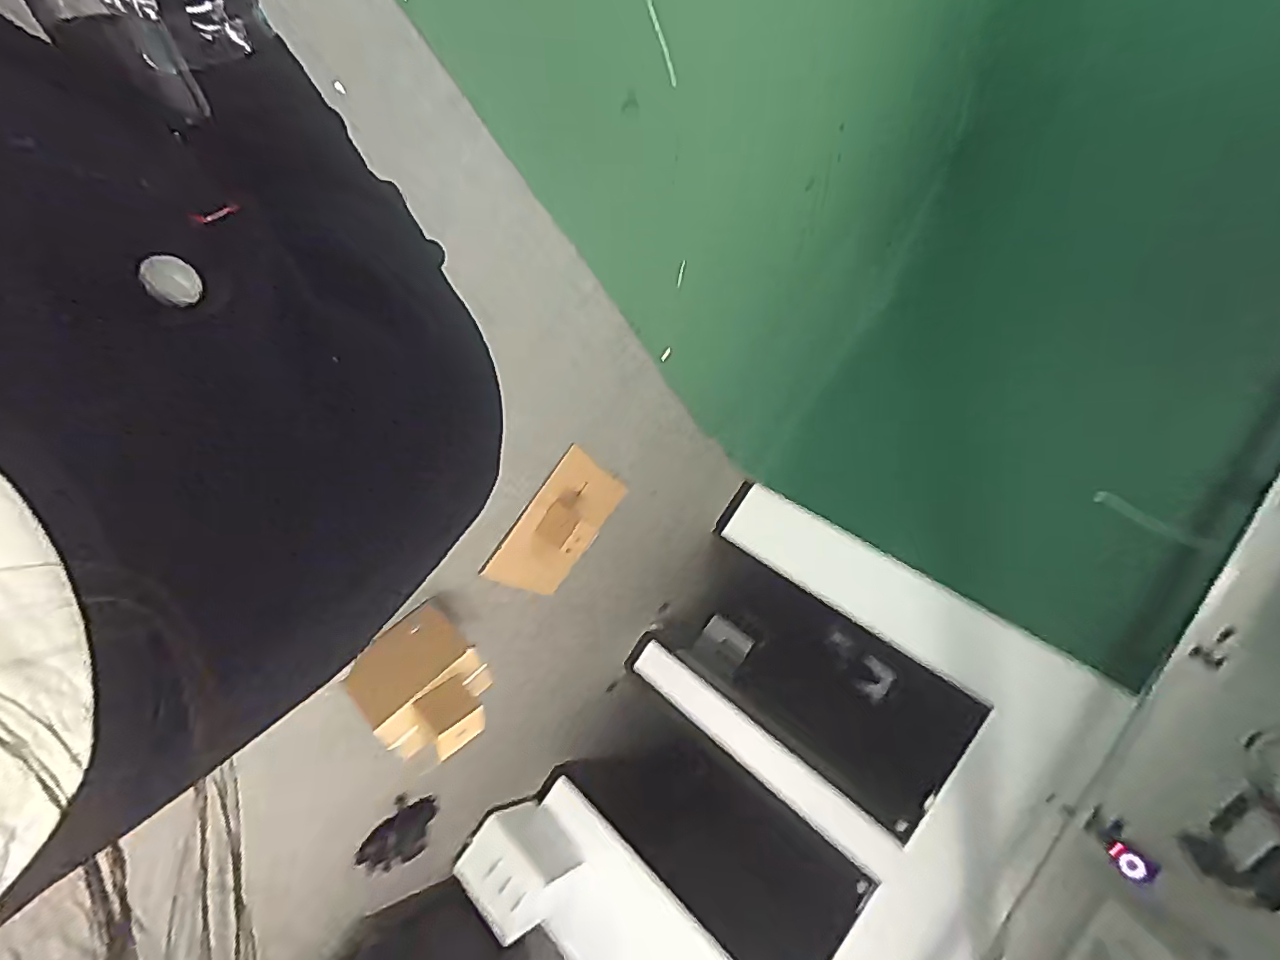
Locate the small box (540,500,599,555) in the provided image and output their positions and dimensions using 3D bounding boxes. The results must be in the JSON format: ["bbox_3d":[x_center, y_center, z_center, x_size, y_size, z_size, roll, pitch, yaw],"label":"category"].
[{"bbox_3d":[-0.322,0.214,2.453,0.179,0.176,0.168,-59,152,-1],"label":"small box"}]

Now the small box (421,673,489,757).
[{"bbox_3d":[-0.665,0.836,1.932,0.179,0.176,0.168,-30,141,-40],"label":"small box"}]
